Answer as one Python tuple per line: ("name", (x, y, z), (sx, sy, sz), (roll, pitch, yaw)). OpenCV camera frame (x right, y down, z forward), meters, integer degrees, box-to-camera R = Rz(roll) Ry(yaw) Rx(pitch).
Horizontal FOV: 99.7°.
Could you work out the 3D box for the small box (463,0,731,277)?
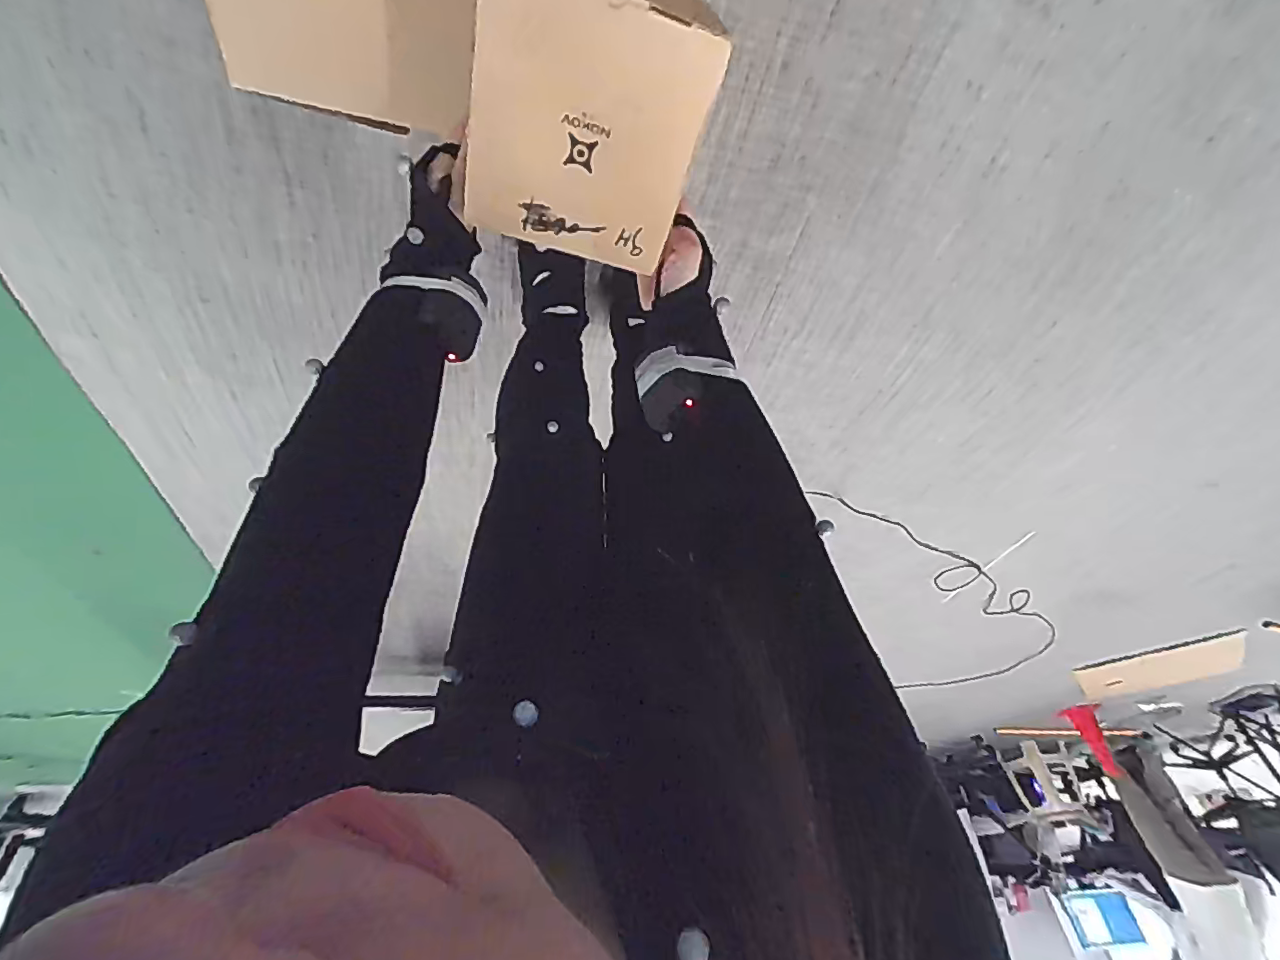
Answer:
("small box", (-0.044, -0.311, 0.456), (0.168, 0.176, 0.179), (11, 136, -14))
